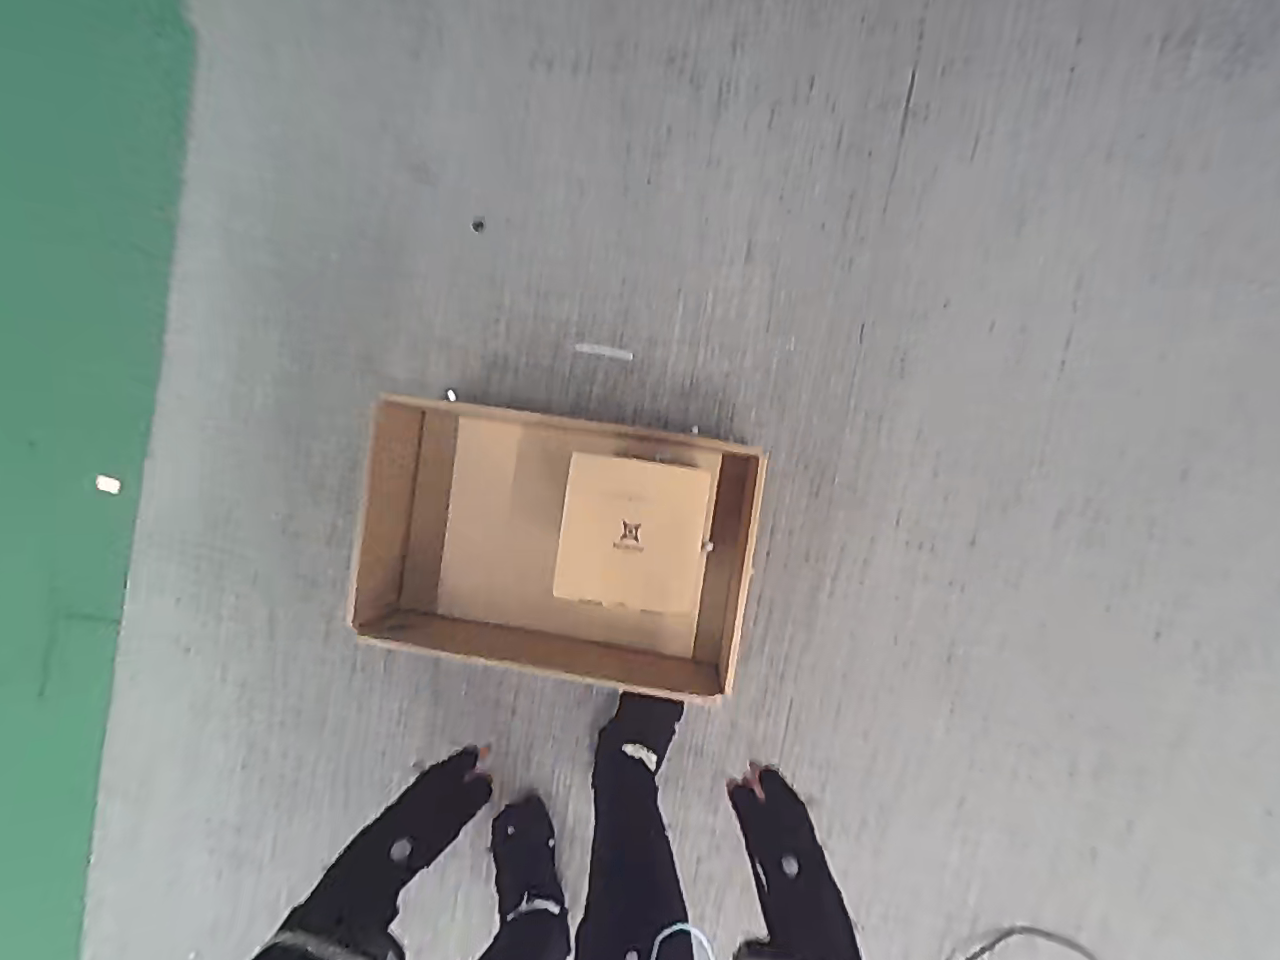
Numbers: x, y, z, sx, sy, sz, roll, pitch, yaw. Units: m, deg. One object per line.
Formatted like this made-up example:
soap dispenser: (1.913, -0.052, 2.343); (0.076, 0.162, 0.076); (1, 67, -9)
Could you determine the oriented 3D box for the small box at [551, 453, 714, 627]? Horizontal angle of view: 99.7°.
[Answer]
small box: (-0.001, 0.065, 0.686); (0.168, 0.176, 0.179); (9, 92, 6)
